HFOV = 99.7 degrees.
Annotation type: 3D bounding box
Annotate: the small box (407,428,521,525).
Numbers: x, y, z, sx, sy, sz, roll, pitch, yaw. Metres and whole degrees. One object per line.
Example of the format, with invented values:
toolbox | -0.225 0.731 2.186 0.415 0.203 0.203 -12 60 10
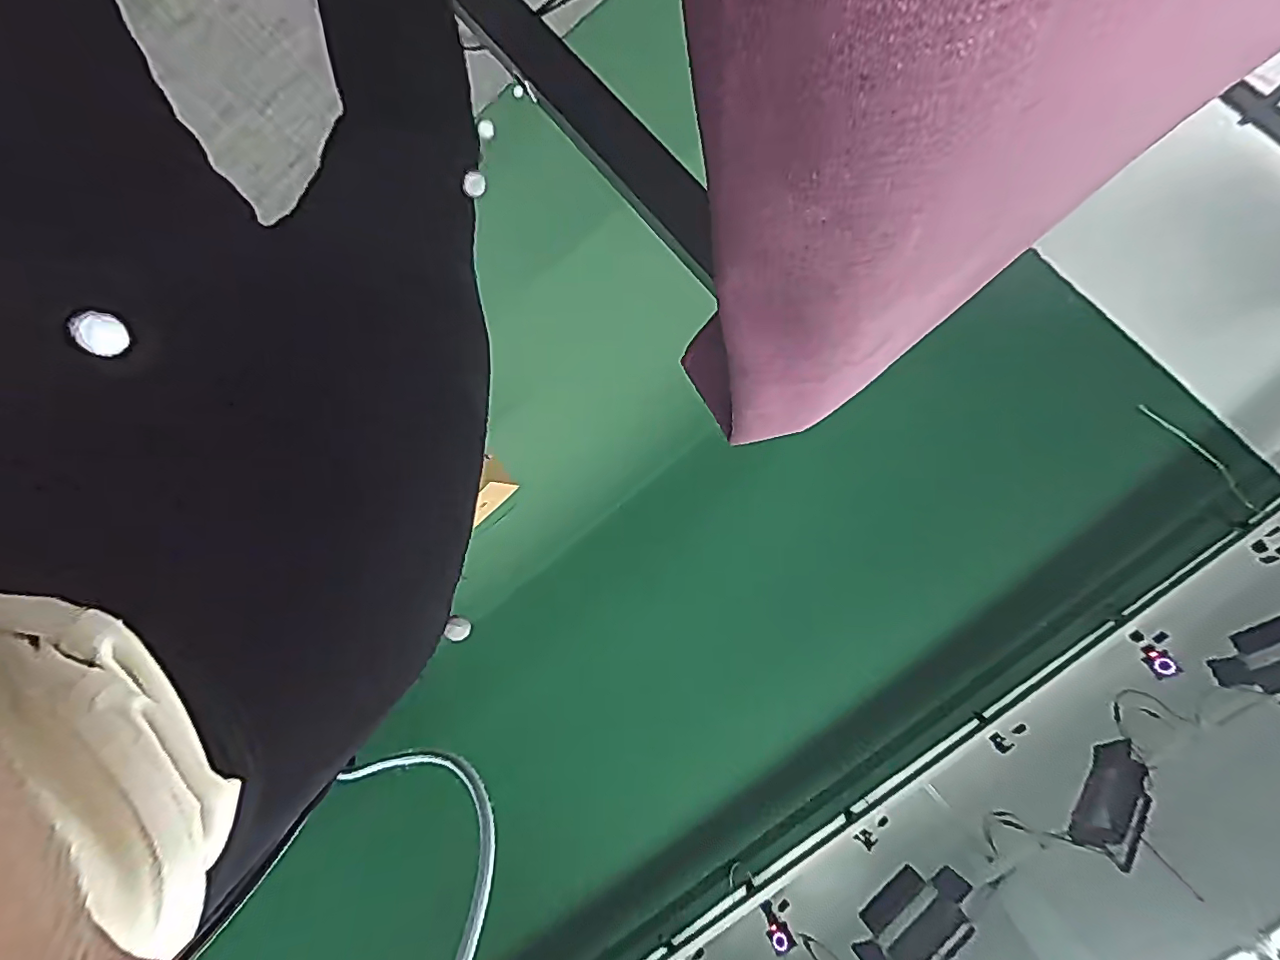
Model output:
small box | -0.435 -0.008 1.337 0.179 0.176 0.168 -40 169 6
